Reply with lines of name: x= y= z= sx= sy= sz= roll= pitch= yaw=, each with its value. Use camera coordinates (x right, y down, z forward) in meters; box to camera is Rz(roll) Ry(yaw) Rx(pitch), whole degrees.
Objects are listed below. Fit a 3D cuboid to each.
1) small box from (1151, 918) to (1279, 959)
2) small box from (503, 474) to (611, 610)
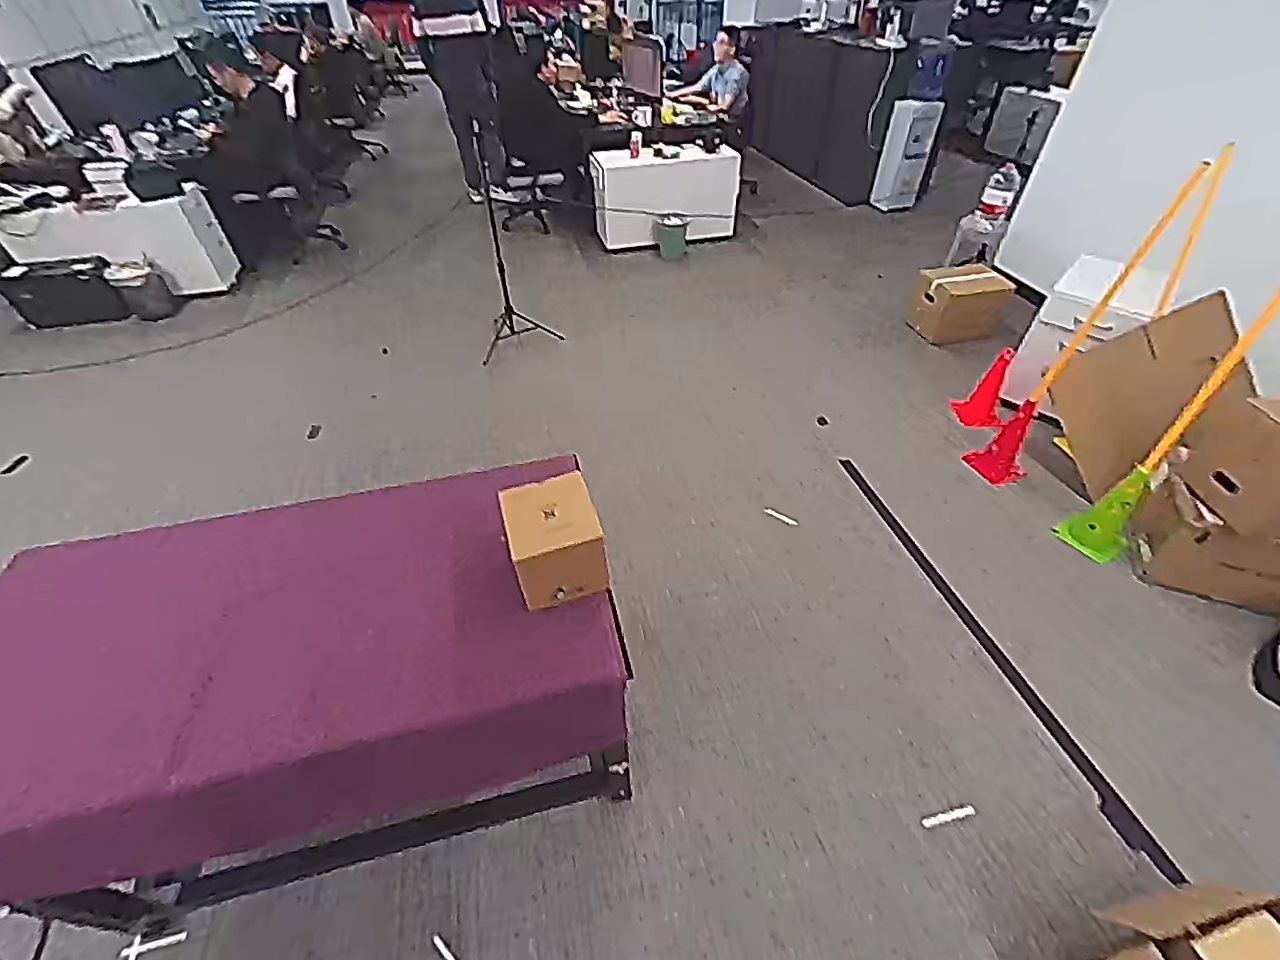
small box: x=1.093 y=0.929 z=0.977 sx=0.179 sy=0.176 sz=0.168 roll=-11 pitch=46 yaw=-9
small box: x=-0.159 y=0.120 z=1.051 sx=0.168 sy=0.176 sz=0.179 roll=-15 pitch=45 yaw=-11
